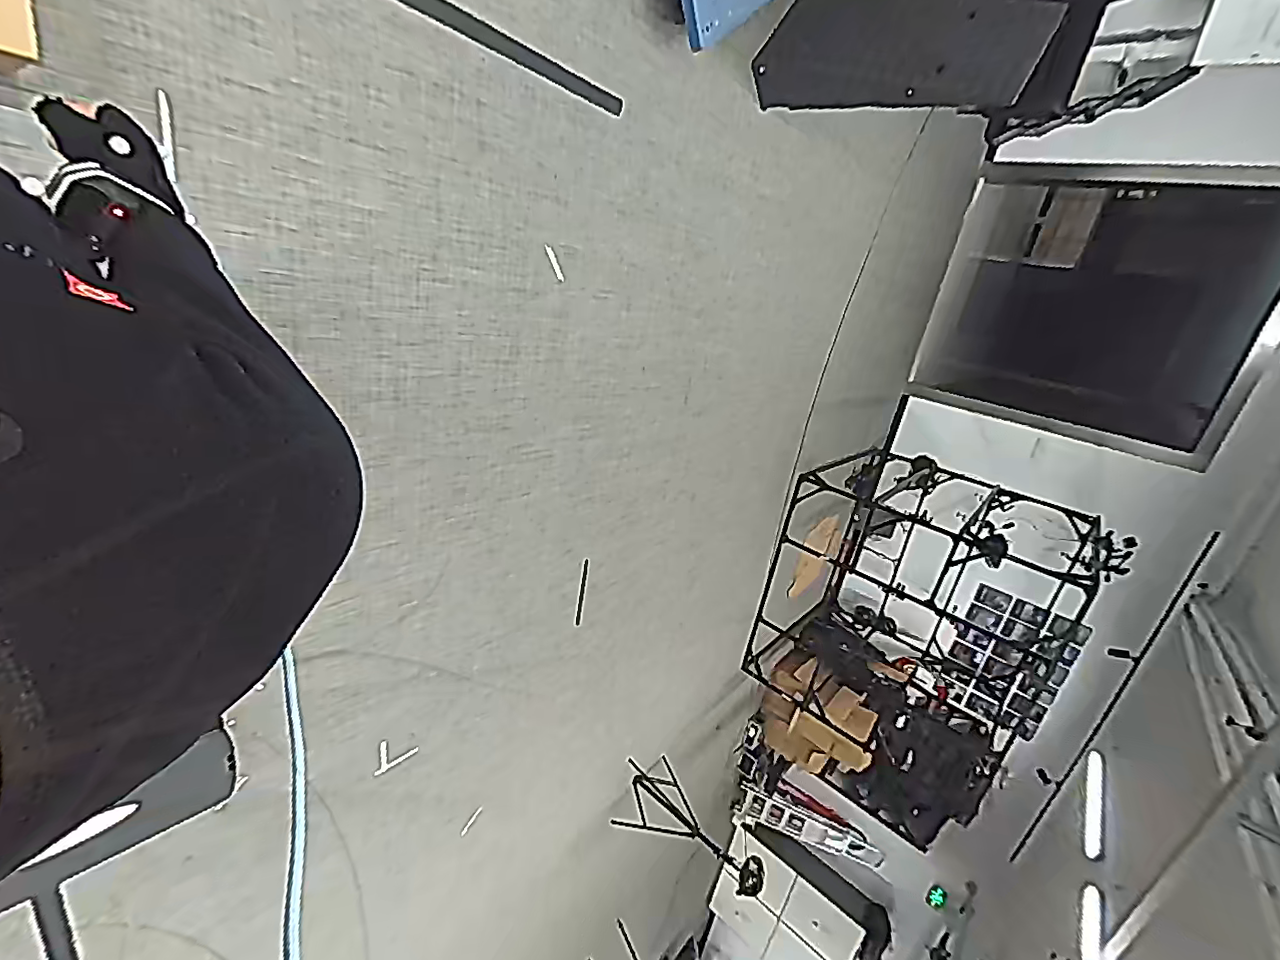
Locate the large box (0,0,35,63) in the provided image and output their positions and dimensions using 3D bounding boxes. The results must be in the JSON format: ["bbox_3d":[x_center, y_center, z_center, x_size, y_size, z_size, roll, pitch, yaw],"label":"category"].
[{"bbox_3d":[-1.020,-0.731,0.599,0.408,0.320,0.320,-15,123,-51],"label":"large box"}]
